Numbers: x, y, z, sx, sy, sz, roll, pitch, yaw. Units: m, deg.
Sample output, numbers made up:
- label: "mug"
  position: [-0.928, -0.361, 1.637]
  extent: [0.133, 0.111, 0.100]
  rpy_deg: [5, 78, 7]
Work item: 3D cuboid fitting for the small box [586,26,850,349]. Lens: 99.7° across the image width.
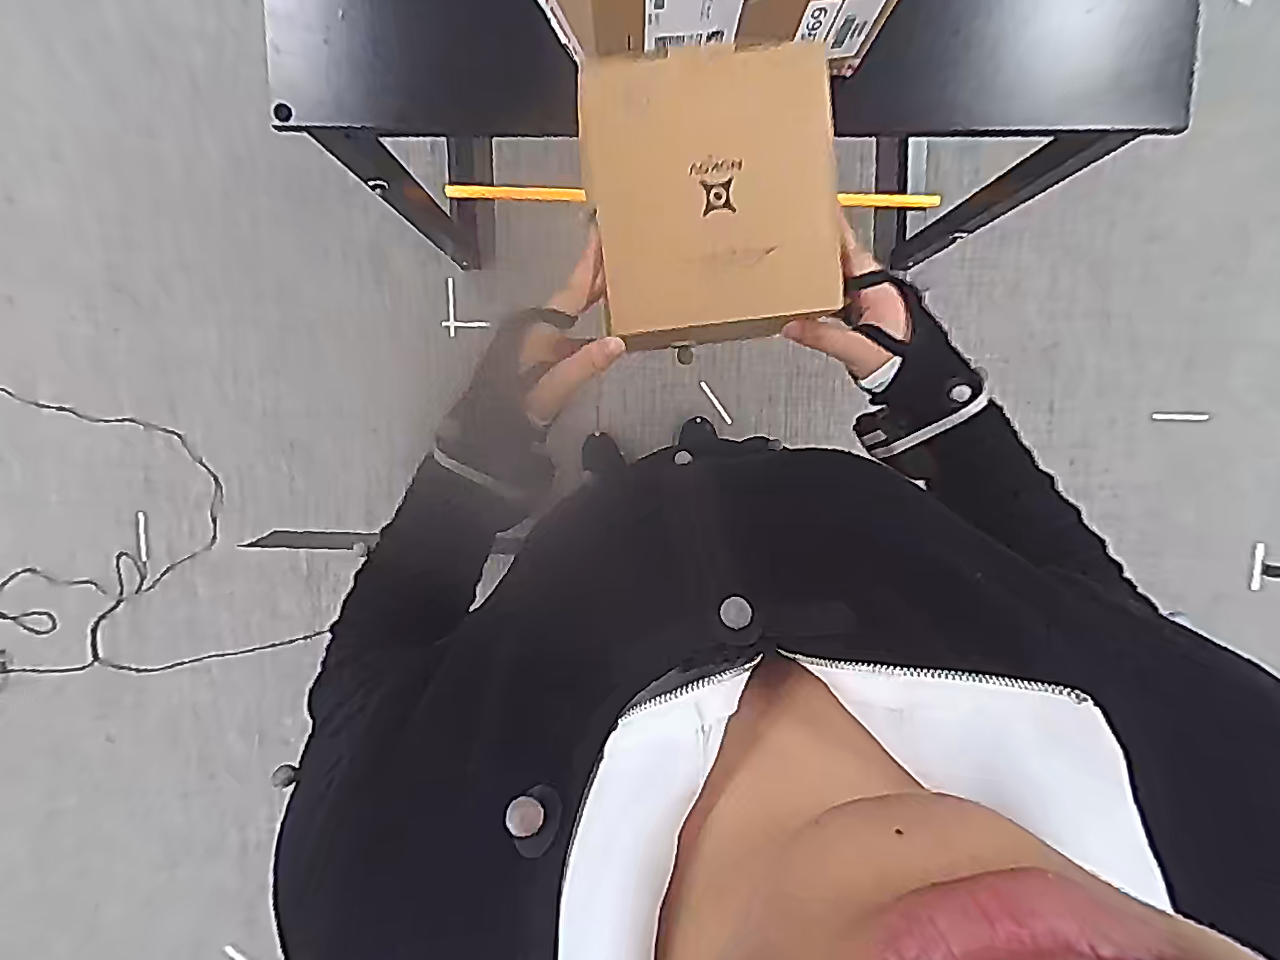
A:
- label: "small box"
  position: [0.048, -0.208, 0.432]
  extent: [0.168, 0.176, 0.179]
  rpy_deg: [-8, 100, -4]
